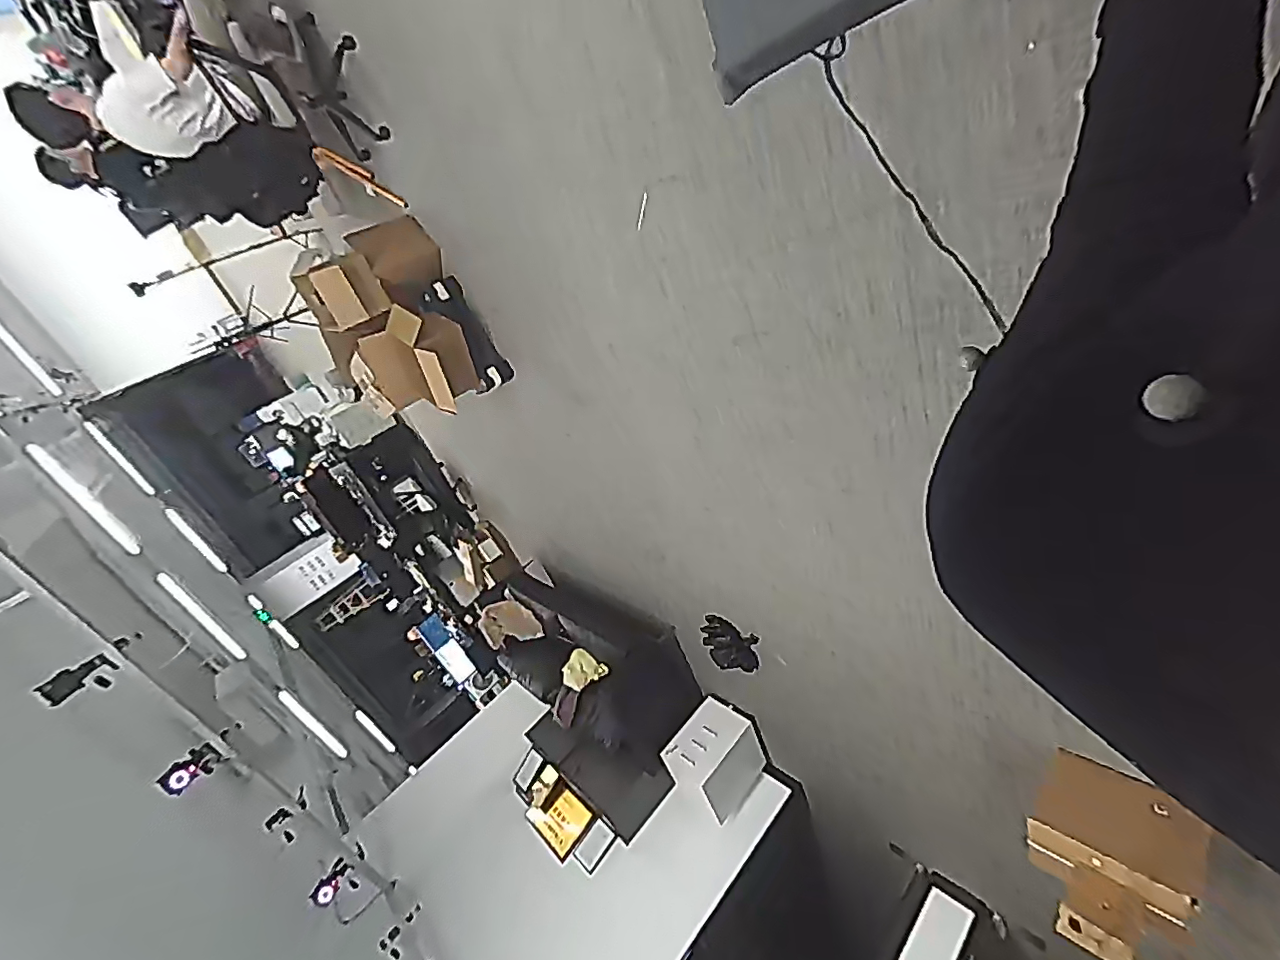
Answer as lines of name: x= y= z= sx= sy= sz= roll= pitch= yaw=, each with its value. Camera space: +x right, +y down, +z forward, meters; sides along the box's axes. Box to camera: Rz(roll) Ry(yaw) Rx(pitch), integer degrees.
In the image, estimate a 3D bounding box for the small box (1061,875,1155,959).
small box: x=1.447 y=1.374 z=1.675 sx=0.179 sy=0.176 sz=0.168 roll=18 pitch=134 yaw=45
